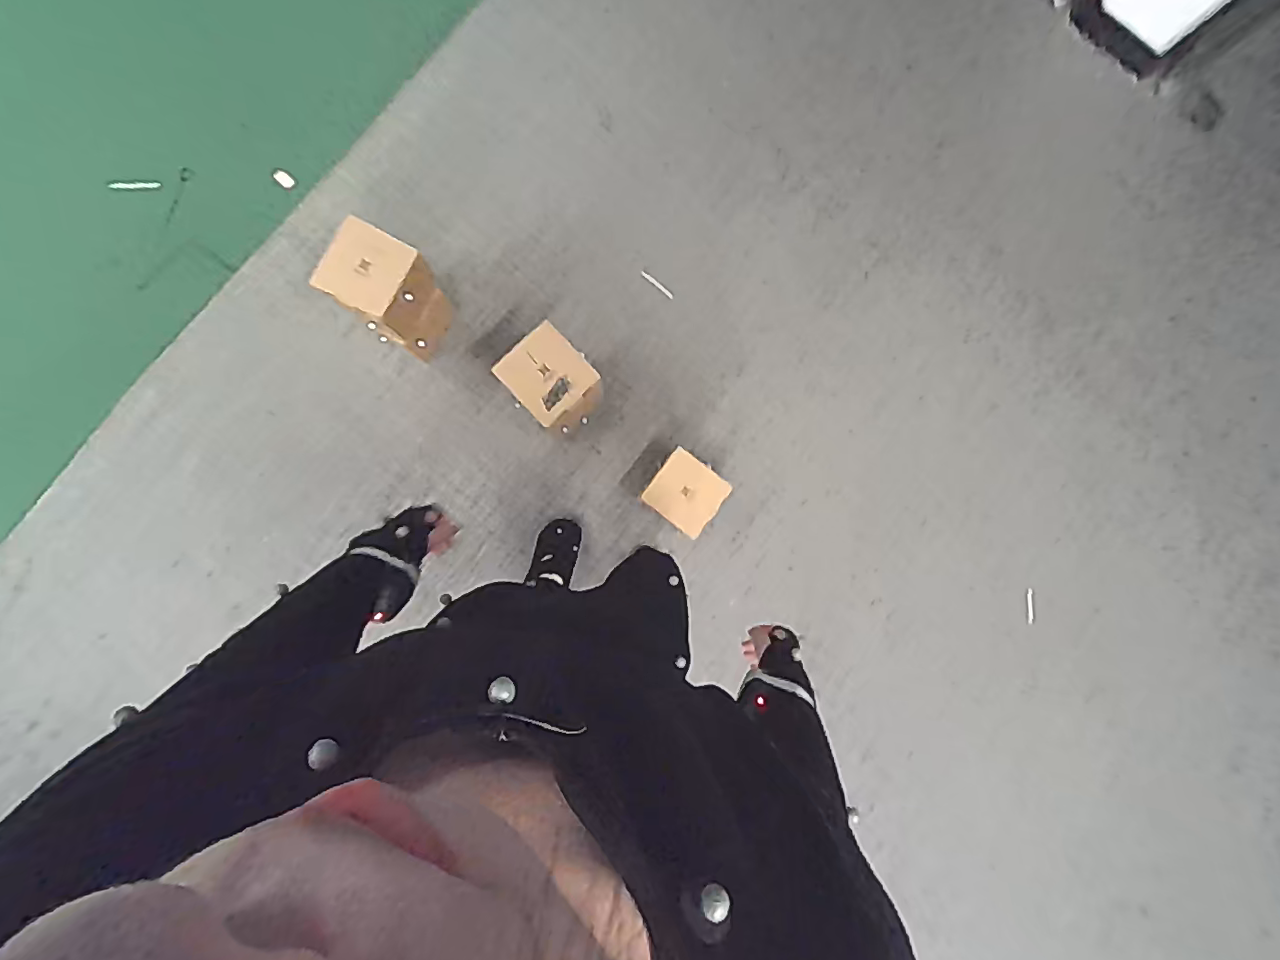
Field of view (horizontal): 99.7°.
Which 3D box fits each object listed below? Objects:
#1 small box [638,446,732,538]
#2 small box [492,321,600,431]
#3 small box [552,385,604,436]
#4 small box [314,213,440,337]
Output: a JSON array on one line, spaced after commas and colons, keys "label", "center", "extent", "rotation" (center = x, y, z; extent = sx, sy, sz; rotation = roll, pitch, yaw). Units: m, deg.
[{"label": "small box", "center": [0.109, 0.034, 1.422], "extent": [0.179, 0.176, 0.168], "rotation": [38, 86, -3]}, {"label": "small box", "center": [-0.204, -0.227, 1.241], "extent": [0.168, 0.176, 0.179], "rotation": [-43, 90, -4]}, {"label": "small box", "center": [-0.210, -0.227, 1.407], "extent": [0.168, 0.176, 0.179], "rotation": [-44, 92, -5]}, {"label": "small box", "center": [-0.581, -0.451, 1.224], "extent": [0.168, 0.176, 0.179], "rotation": [29, 86, -3]}]
